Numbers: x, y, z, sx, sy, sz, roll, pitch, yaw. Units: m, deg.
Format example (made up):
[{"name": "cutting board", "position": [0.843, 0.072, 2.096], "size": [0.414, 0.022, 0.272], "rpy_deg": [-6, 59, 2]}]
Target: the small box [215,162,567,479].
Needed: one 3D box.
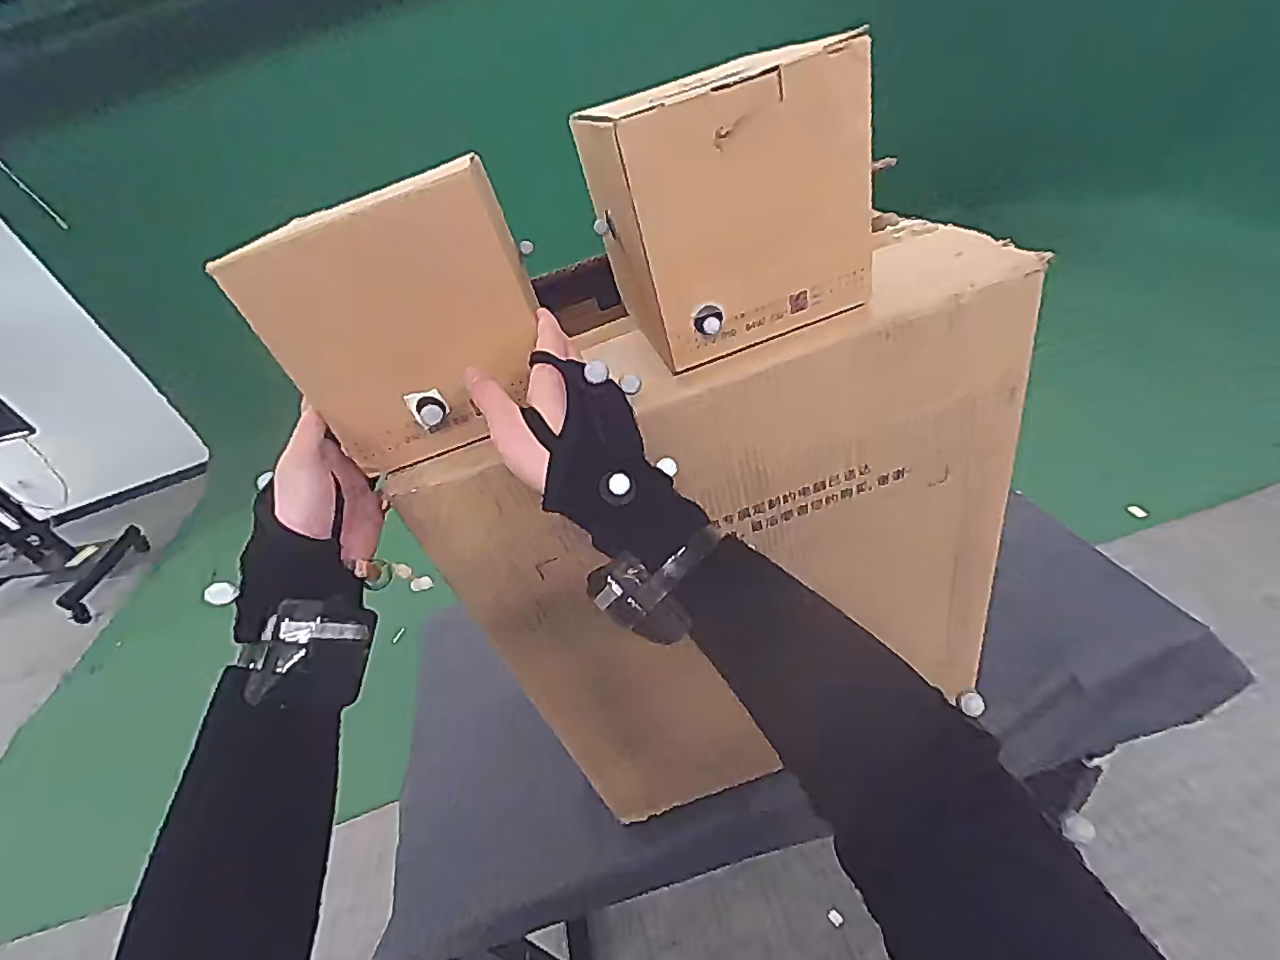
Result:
[{"name": "small box", "position": [-0.170, -0.130, 0.432], "size": [0.168, 0.176, 0.179], "rpy_deg": [-22, 36, -1]}]

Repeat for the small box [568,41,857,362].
[{"name": "small box", "position": [0.056, -0.213, 0.432], "size": [0.168, 0.176, 0.179], "rpy_deg": [-20, 36, -3]}]
